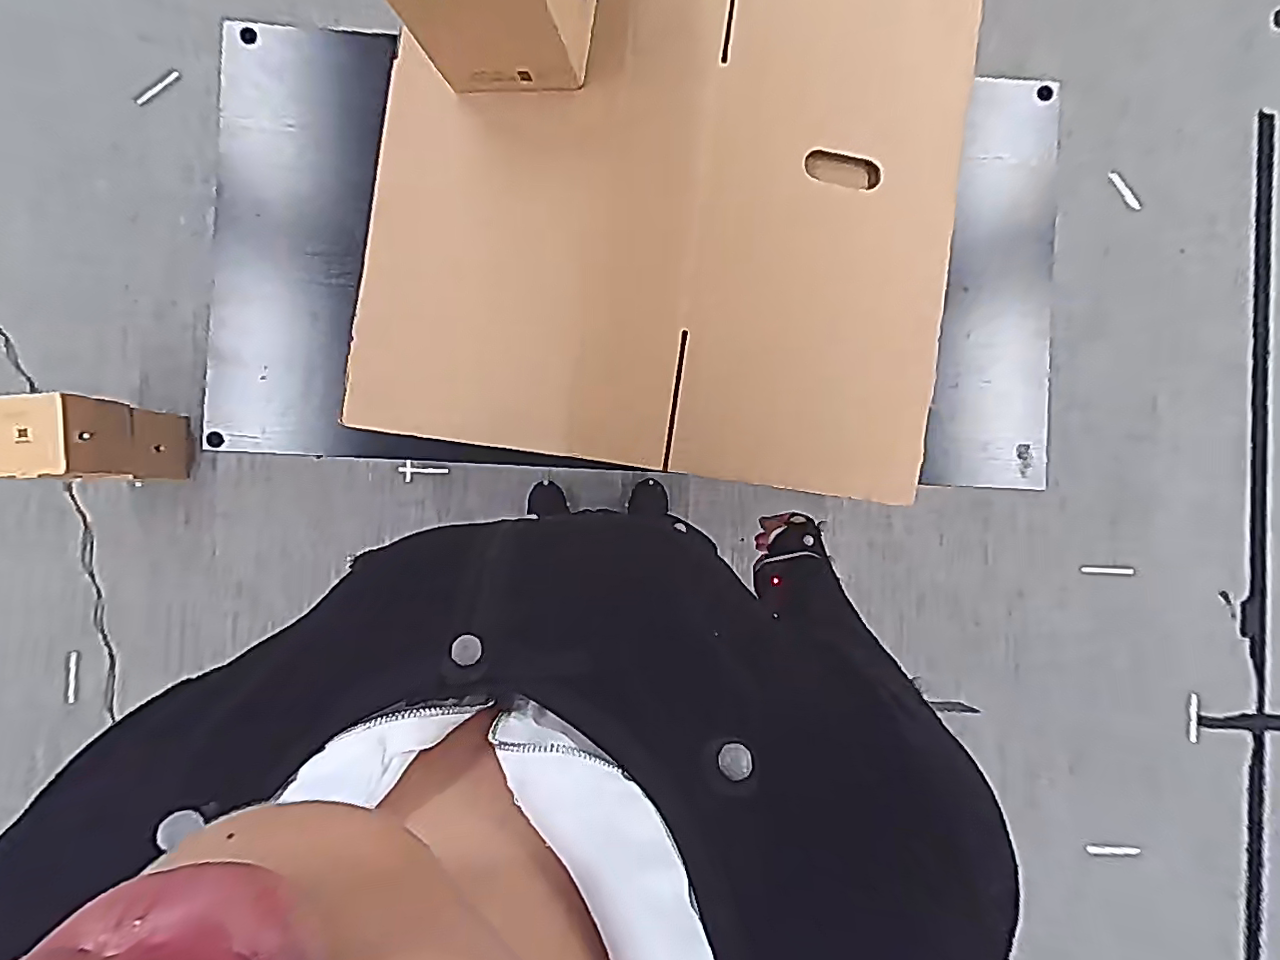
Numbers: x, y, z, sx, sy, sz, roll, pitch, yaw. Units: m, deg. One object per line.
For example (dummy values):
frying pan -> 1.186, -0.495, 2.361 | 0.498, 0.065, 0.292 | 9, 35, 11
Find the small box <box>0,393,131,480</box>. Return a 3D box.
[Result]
small box -> -1.297, -0.091, 1.212 | 0.168, 0.176, 0.179 | -4, 89, -3

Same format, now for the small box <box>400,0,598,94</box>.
small box -> -0.145, -0.532, 0.539 | 0.168, 0.176, 0.179 | 8, 88, 13

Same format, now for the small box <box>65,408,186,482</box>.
small box -> -1.302, -0.084, 1.375 | 0.168, 0.176, 0.179 | -1, 90, -2
